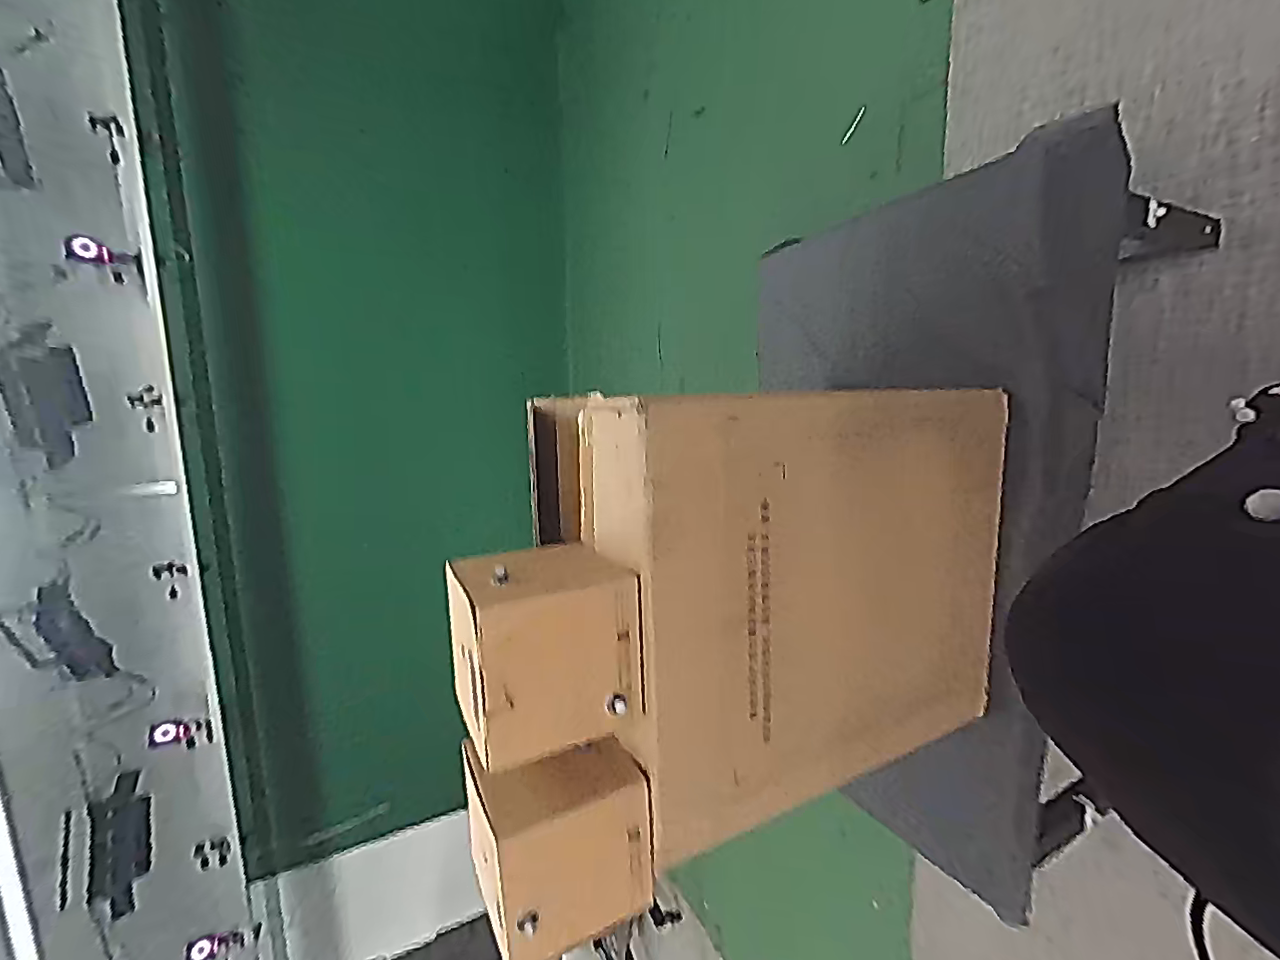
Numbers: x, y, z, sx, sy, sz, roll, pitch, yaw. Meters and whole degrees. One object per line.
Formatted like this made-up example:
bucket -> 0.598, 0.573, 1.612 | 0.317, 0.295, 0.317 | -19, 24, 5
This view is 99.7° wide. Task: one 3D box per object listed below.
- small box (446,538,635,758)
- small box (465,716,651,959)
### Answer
small box -> -0.112, 0.169, 0.613 | 0.179, 0.176, 0.168 | 14, 107, 62
small box -> -0.100, 0.390, 0.643 | 0.179, 0.176, 0.168 | 18, 115, 61
